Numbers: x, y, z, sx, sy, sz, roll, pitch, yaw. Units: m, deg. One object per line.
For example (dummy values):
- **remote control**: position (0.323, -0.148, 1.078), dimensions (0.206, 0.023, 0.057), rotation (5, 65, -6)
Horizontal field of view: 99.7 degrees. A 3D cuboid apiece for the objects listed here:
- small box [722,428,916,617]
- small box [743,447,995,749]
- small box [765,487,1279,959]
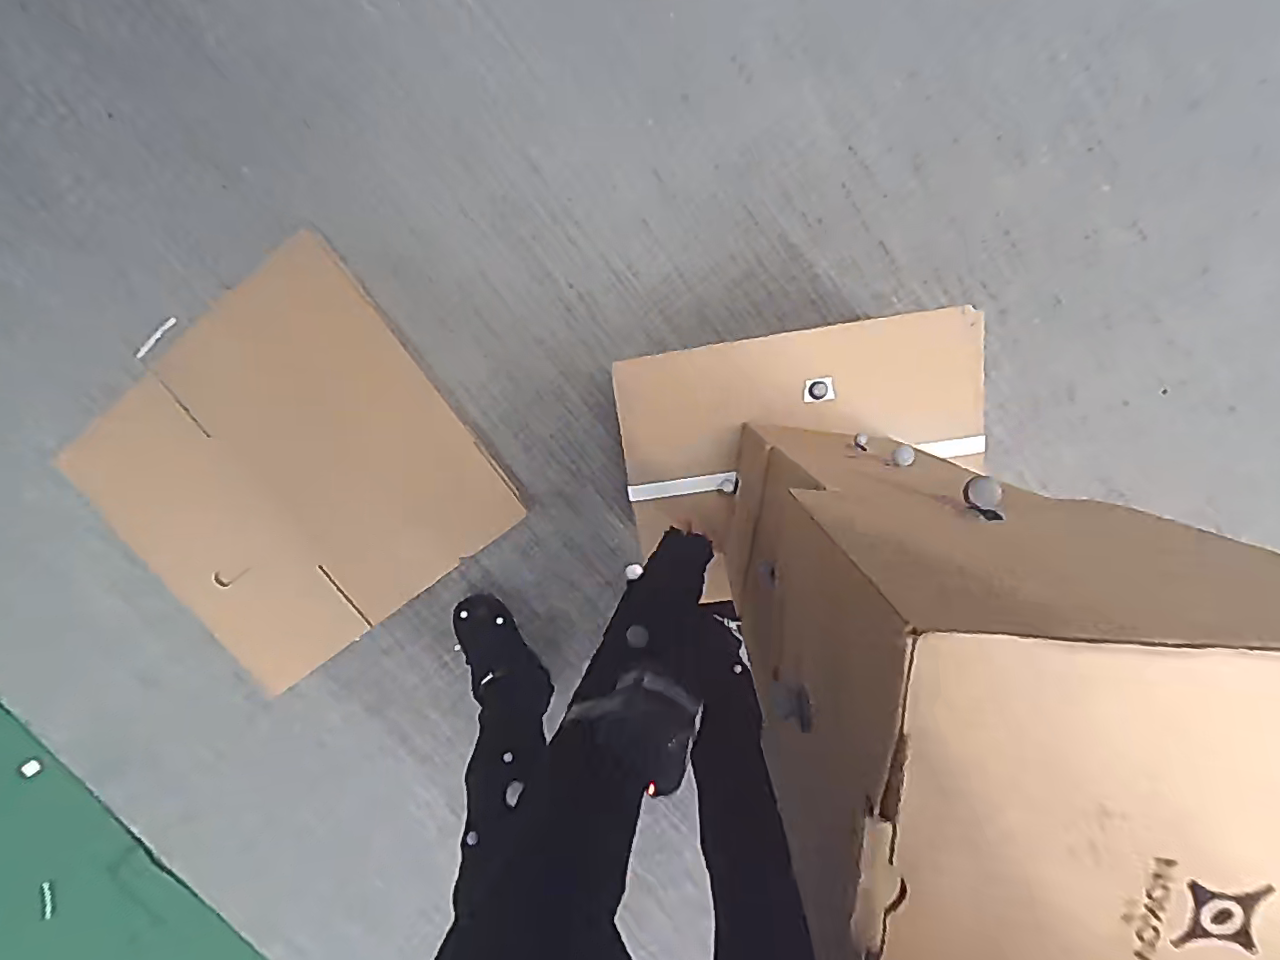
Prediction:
- **small box**: position (0.187, 0.042, 0.562), dimensions (0.179, 0.176, 0.168), rotation (7, 102, 4)
- **small box**: position (0.172, 0.080, 0.404), dimensions (0.168, 0.176, 0.179), rotation (4, 103, 4)
- **small box**: position (0.155, 0.098, 0.244), dimensions (0.179, 0.176, 0.168), rotation (-1, 99, 3)
